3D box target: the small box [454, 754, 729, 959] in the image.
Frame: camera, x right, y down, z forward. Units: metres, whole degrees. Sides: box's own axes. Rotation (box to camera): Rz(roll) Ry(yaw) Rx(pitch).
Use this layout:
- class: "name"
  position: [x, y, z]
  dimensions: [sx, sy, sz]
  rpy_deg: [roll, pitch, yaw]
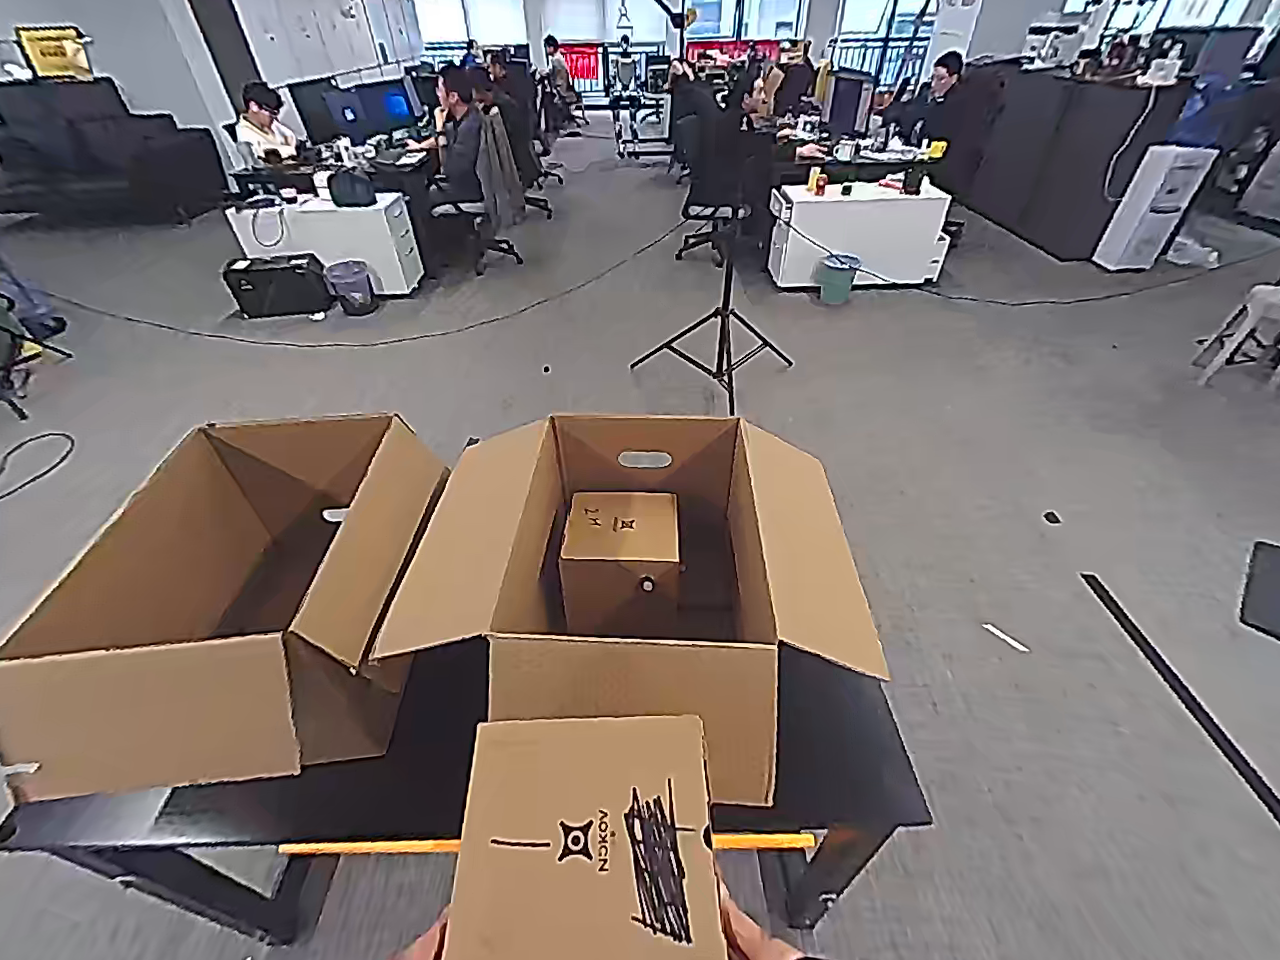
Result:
- class: "small box"
  position: [-0.034, 0.329, 0.425]
  dimensions: [0.179, 0.176, 0.168]
  rpy_deg: [-1, 46, -2]
